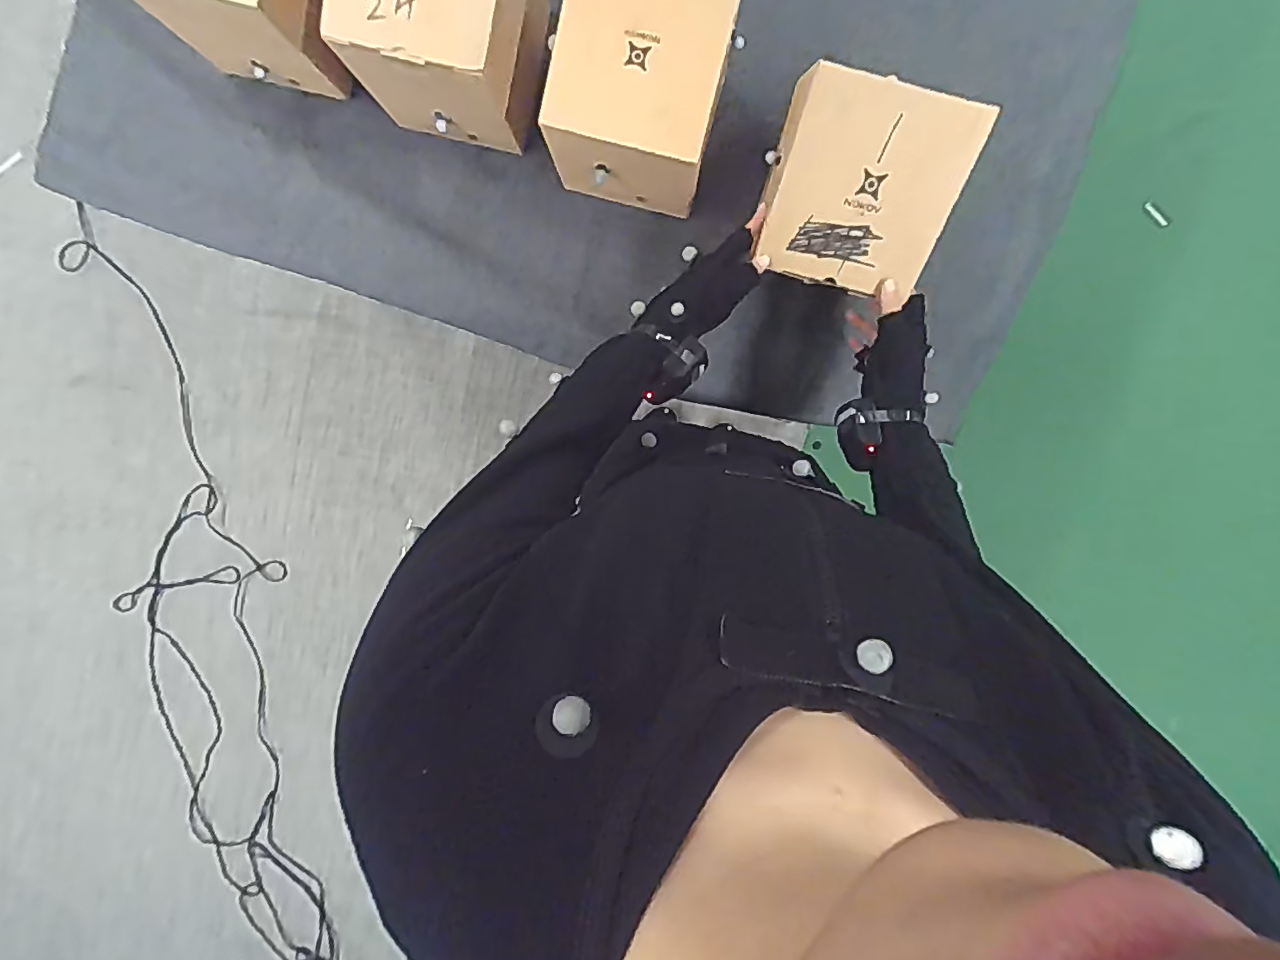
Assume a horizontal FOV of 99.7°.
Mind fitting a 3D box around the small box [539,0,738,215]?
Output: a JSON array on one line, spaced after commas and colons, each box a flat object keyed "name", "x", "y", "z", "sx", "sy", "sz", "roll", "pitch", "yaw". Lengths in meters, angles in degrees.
[{"name": "small box", "x": 0.001, "y": -0.425, "z": 0.602, "sx": 0.168, "sy": 0.176, "sz": 0.179, "roll": 14, "pitch": 97, "yaw": -1}]

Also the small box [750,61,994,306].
[{"name": "small box", "x": 0.224, "y": -0.313, "z": 0.581, "sx": 0.168, "sy": 0.176, "sz": 0.179, "roll": 15, "pitch": 123, "yaw": -1}]

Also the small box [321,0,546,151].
[{"name": "small box", "x": -0.208, "y": -0.506, "z": 0.593, "sx": 0.168, "sy": 0.176, "sz": 0.179, "roll": 13, "pitch": 97, "yaw": -1}]
